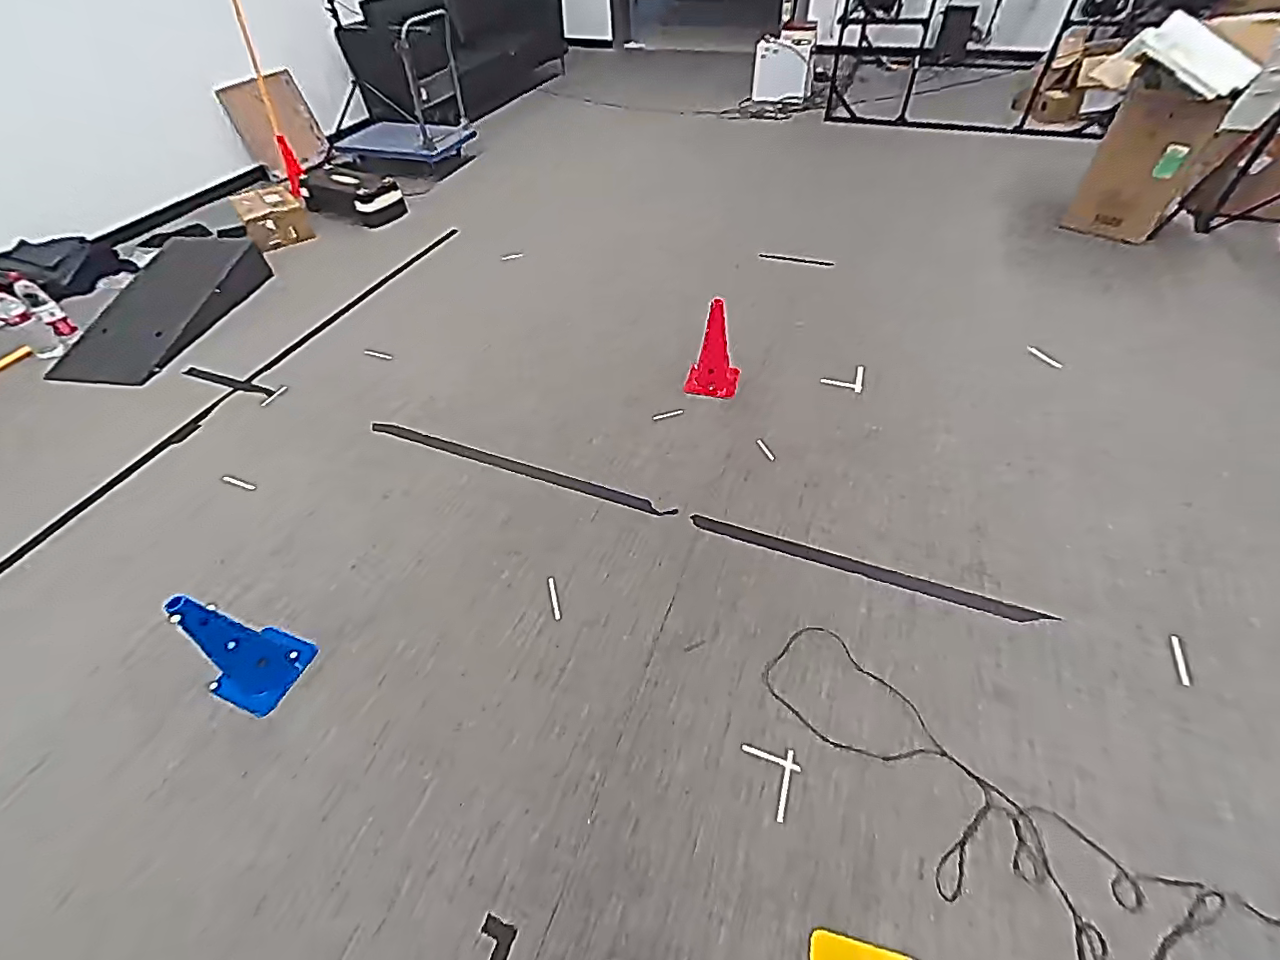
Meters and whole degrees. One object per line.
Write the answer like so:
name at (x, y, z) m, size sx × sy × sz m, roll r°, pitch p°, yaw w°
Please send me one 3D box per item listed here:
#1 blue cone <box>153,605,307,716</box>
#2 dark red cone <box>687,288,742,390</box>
blue cone at (-1.005, 0.396, 1.295) m, size 0.193 × 0.380 × 0.192 m, roll 16°, pitch 52°, yaw 17°
dark red cone at (0.292, -0.537, 2.035) m, size 0.202 × 0.394 × 0.201 m, roll 9°, pitch 50°, yaw 11°
